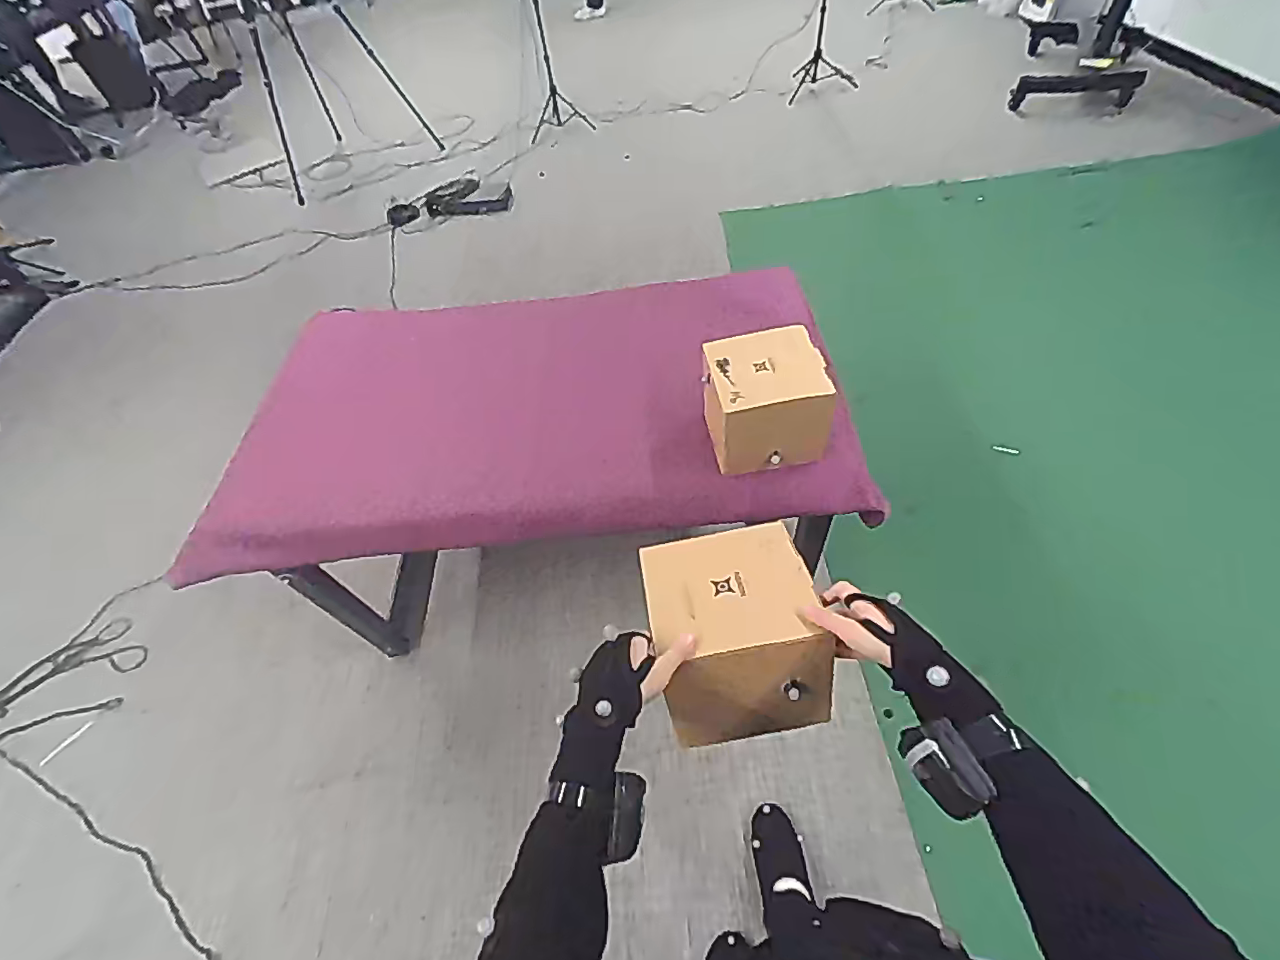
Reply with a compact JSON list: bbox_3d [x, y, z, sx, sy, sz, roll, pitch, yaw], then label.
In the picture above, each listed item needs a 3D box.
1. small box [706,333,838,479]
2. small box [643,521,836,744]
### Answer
[{"bbox_3d":[0.211,-0.122,0.921,0.179,0.176,0.168,-9,52,1],"label":"small box"},{"bbox_3d":[0.107,0.175,0.621,0.179,0.176,0.168,-12,36,3],"label":"small box"}]
